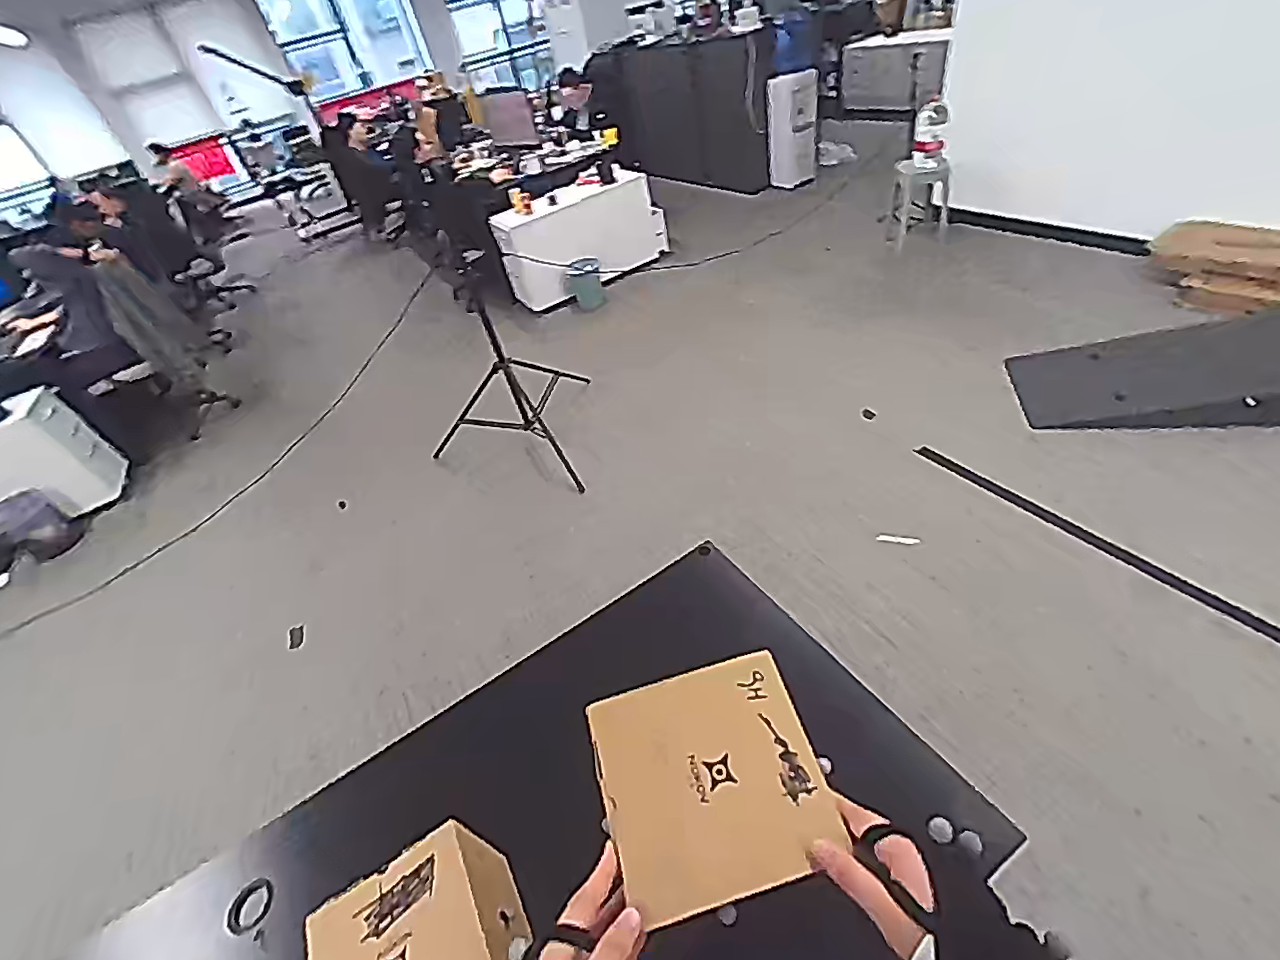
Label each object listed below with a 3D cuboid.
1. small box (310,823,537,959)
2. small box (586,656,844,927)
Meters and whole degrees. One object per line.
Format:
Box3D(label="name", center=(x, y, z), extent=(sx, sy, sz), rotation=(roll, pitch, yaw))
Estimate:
Box3D(label="small box", center=(-0.221, 0.525, 0.583), extent=(0.168, 0.176, 0.179), rotation=(-30, 44, -15))
Box3D(label="small box", center=(0.062, 0.294, 0.508), extent=(0.179, 0.176, 0.168), rotation=(-15, 52, -4))
